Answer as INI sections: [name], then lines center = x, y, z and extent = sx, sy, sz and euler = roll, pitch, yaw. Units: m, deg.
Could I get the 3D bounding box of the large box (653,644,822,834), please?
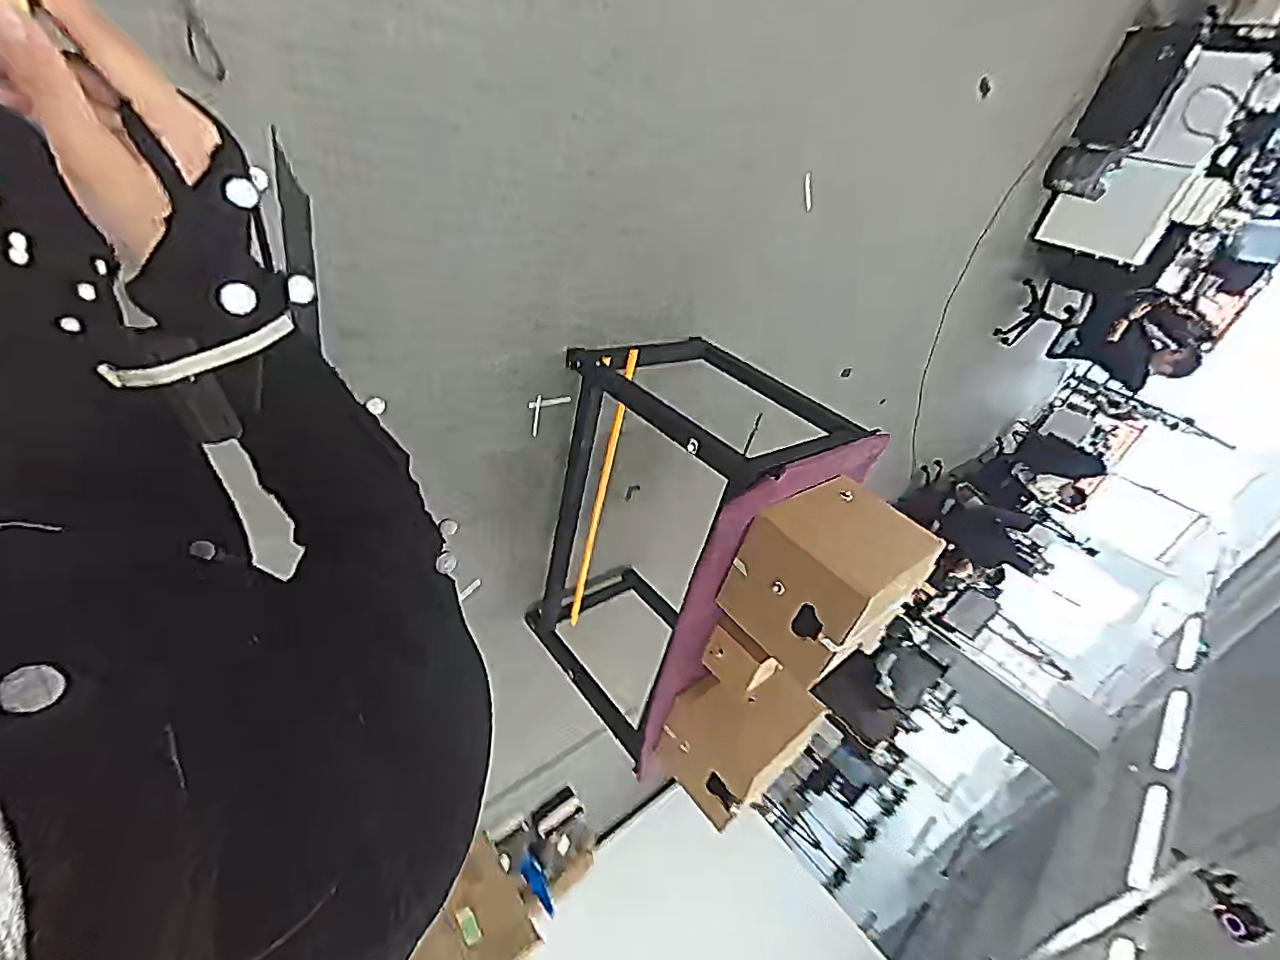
[large box]
center = 0.304, 0.808, 1.738
extent = 0.408, 0.320, 0.320
euler = -17, 134, -41

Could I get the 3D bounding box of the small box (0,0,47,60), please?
[small box]
center = -0.334, -0.247, 0.153
extent = 0.179, 0.176, 0.168
euler = -23, 131, -48
